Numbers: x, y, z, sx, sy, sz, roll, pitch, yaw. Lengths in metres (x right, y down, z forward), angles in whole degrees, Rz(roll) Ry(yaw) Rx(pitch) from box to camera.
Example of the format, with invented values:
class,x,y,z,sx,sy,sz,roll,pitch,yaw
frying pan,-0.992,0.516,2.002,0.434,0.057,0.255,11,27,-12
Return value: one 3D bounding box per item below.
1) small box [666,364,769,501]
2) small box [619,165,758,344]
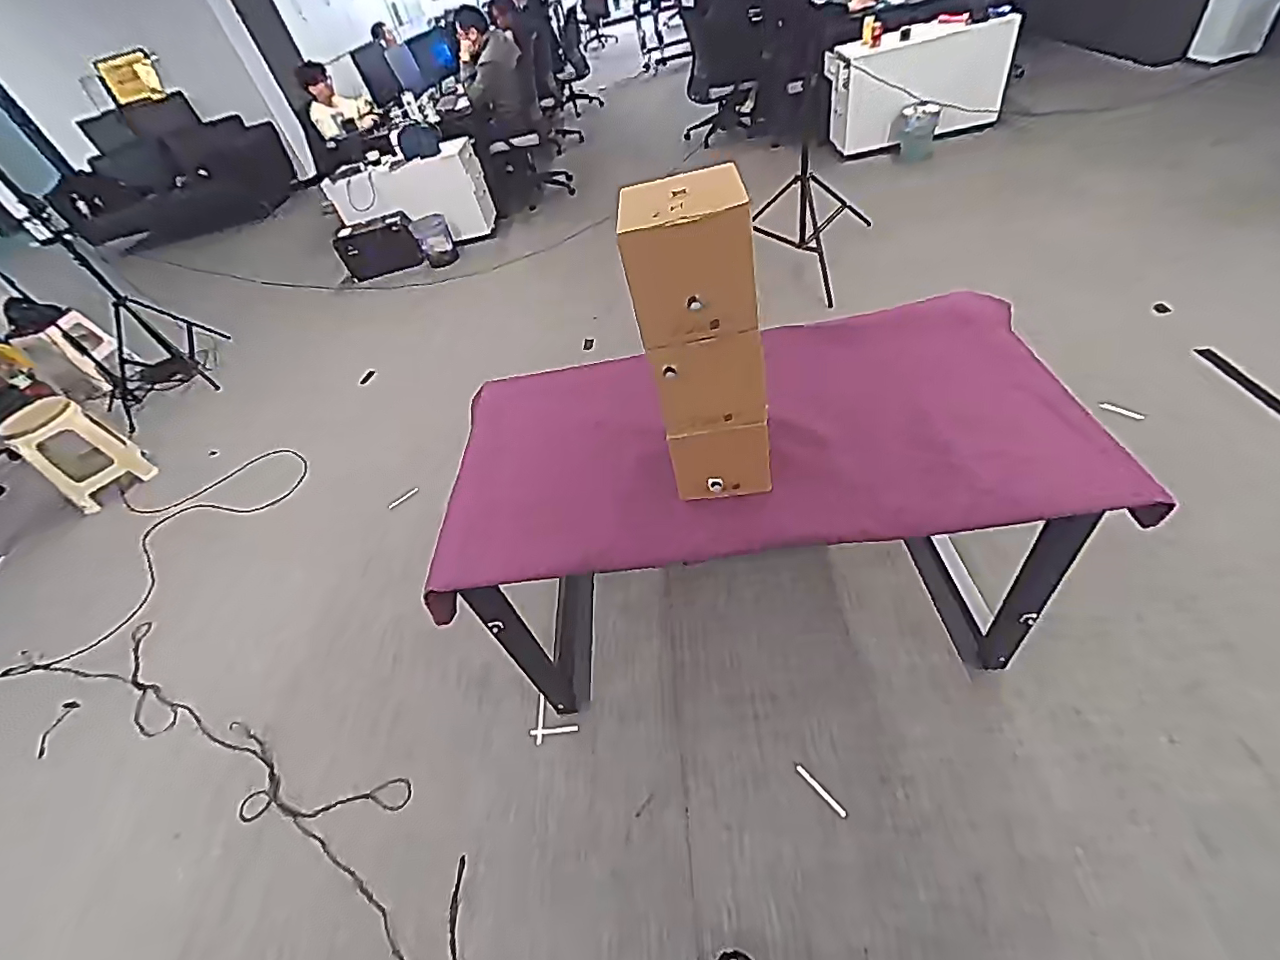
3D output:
class,x,y,z,sx,sy,sz,roll,pitch,yaw
small box,0.141,-0.086,0.993,0.168,0.176,0.179,-8,46,9
small box,0.071,-0.318,0.769,0.168,0.176,0.179,-9,44,9
